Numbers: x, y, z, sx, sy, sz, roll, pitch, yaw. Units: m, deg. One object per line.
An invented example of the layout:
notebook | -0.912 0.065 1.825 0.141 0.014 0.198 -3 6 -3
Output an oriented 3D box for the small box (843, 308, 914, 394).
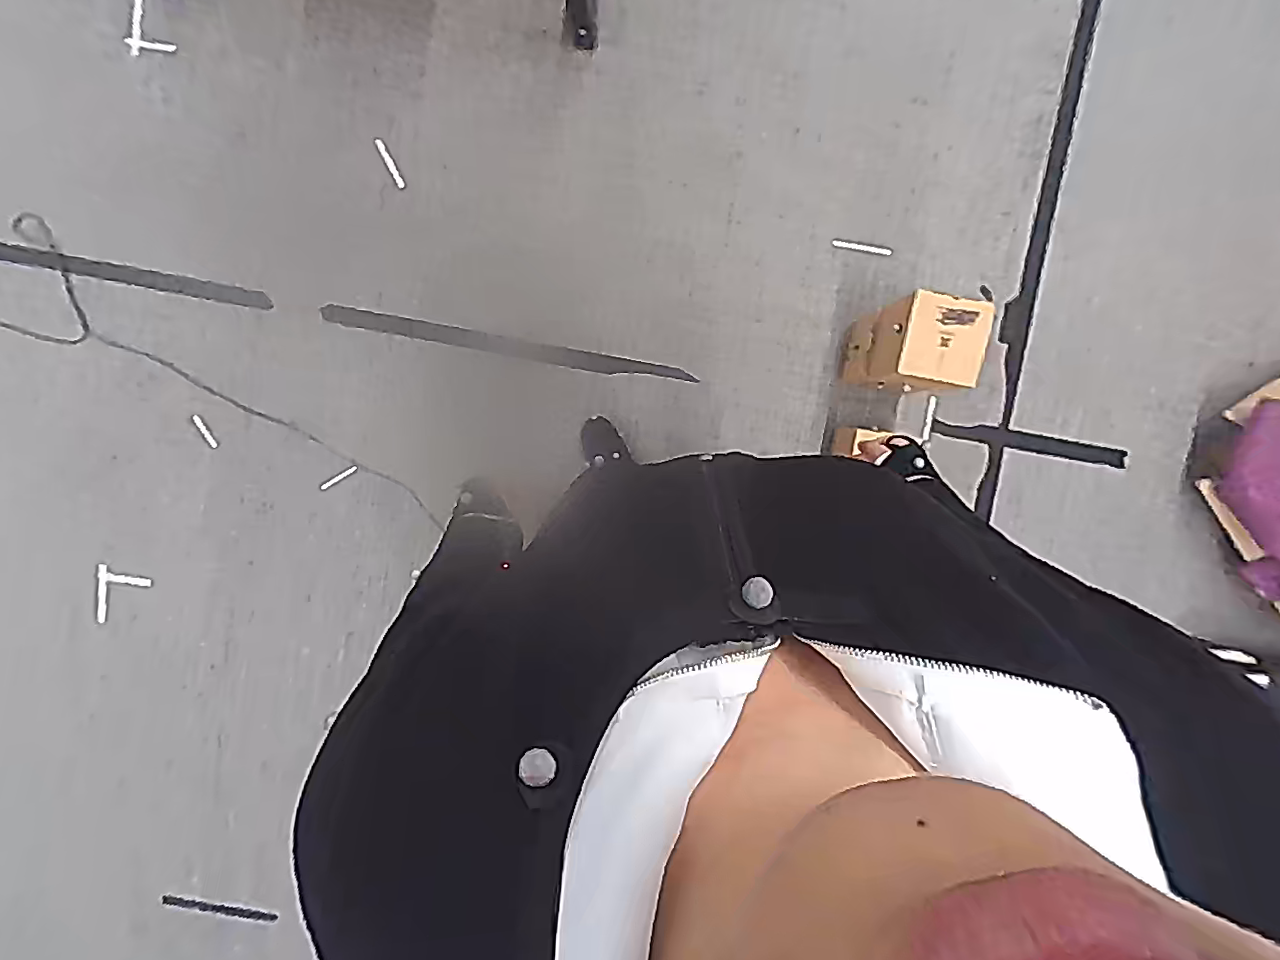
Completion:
small box | 0.631 -0.315 1.354 0.179 0.176 0.168 12 96 2

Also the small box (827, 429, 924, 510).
small box | 0.591 -0.032 1.382 0.168 0.176 0.179 8 96 1

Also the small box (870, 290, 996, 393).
small box | 0.632 -0.296 1.189 0.168 0.176 0.179 12 96 1
